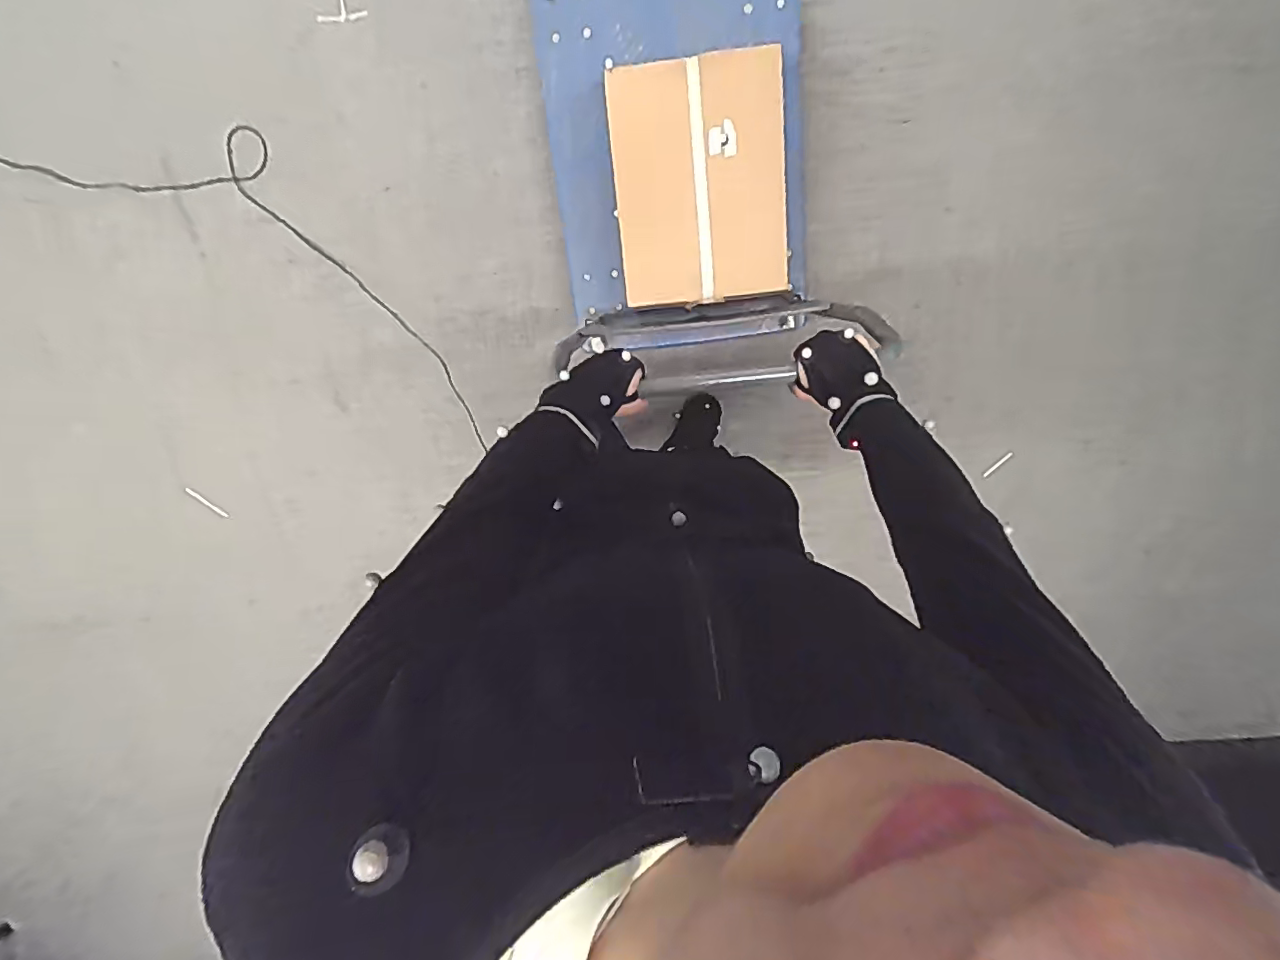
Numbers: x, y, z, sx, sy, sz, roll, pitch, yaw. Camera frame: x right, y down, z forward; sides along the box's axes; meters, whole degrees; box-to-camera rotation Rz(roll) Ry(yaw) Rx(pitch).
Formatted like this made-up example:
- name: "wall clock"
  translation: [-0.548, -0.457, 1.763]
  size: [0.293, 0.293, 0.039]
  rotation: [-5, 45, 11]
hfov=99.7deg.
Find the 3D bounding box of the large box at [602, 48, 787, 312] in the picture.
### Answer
- name: "large box"
  translation: [0.114, -0.586, 1.142]
  size: [0.320, 0.320, 0.408]
  rotation: [-5, 105, 3]
